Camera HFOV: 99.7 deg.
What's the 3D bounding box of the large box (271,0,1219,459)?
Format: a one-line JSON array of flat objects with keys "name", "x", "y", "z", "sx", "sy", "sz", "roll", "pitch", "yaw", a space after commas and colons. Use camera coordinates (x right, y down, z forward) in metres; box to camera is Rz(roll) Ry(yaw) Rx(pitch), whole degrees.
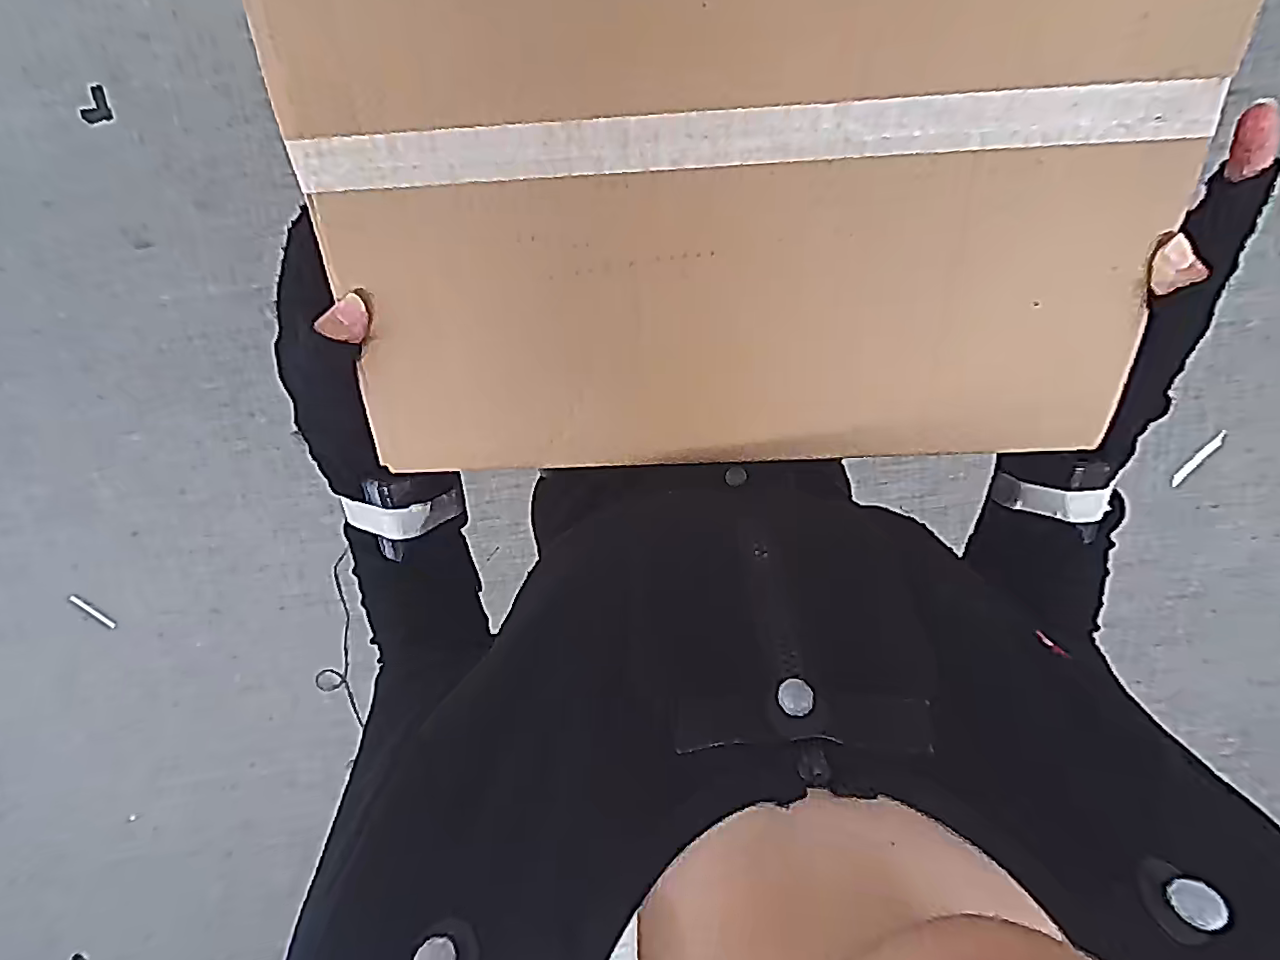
[{"name": "large box", "x": 0.043, "y": -0.224, "z": 0.383, "sx": 0.408, "sy": 0.320, "sz": 0.320, "roll": -2, "pitch": 117, "yaw": 2}]
